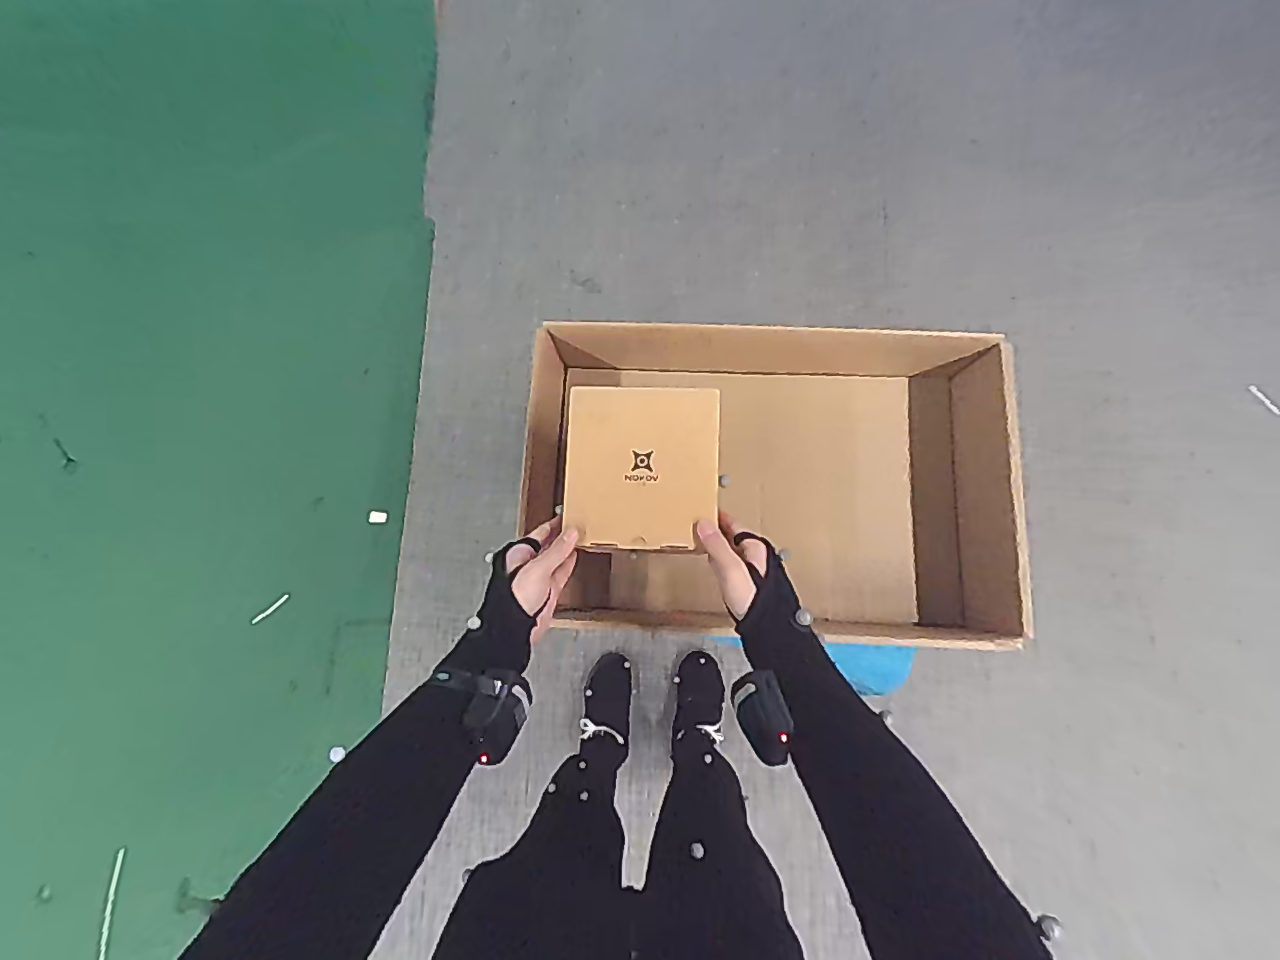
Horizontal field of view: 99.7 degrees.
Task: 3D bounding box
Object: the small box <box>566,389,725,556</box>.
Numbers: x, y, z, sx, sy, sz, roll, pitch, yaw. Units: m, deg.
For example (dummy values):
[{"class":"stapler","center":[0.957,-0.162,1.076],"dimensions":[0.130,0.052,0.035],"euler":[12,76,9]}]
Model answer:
[{"class":"small box","center":[0.011,0.000,0.656],"dimensions":[0.168,0.176,0.179],"euler":[1,81,4]}]
